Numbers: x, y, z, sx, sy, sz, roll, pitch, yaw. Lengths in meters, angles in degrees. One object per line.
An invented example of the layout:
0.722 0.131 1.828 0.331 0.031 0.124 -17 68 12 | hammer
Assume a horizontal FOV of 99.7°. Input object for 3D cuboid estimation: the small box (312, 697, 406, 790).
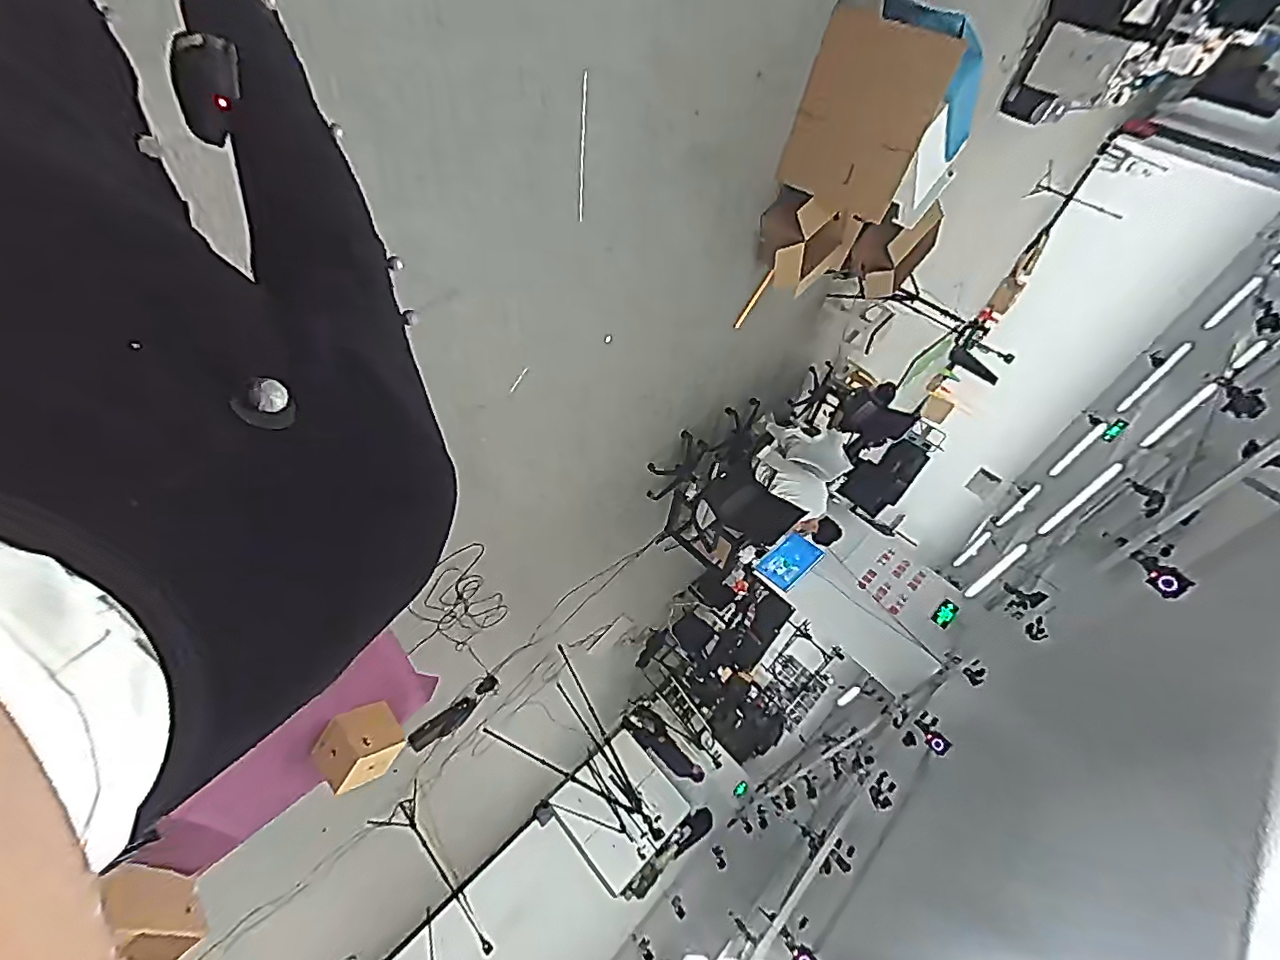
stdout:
-0.888 0.821 1.701 0.168 0.176 0.179 -54 156 13 | small box
